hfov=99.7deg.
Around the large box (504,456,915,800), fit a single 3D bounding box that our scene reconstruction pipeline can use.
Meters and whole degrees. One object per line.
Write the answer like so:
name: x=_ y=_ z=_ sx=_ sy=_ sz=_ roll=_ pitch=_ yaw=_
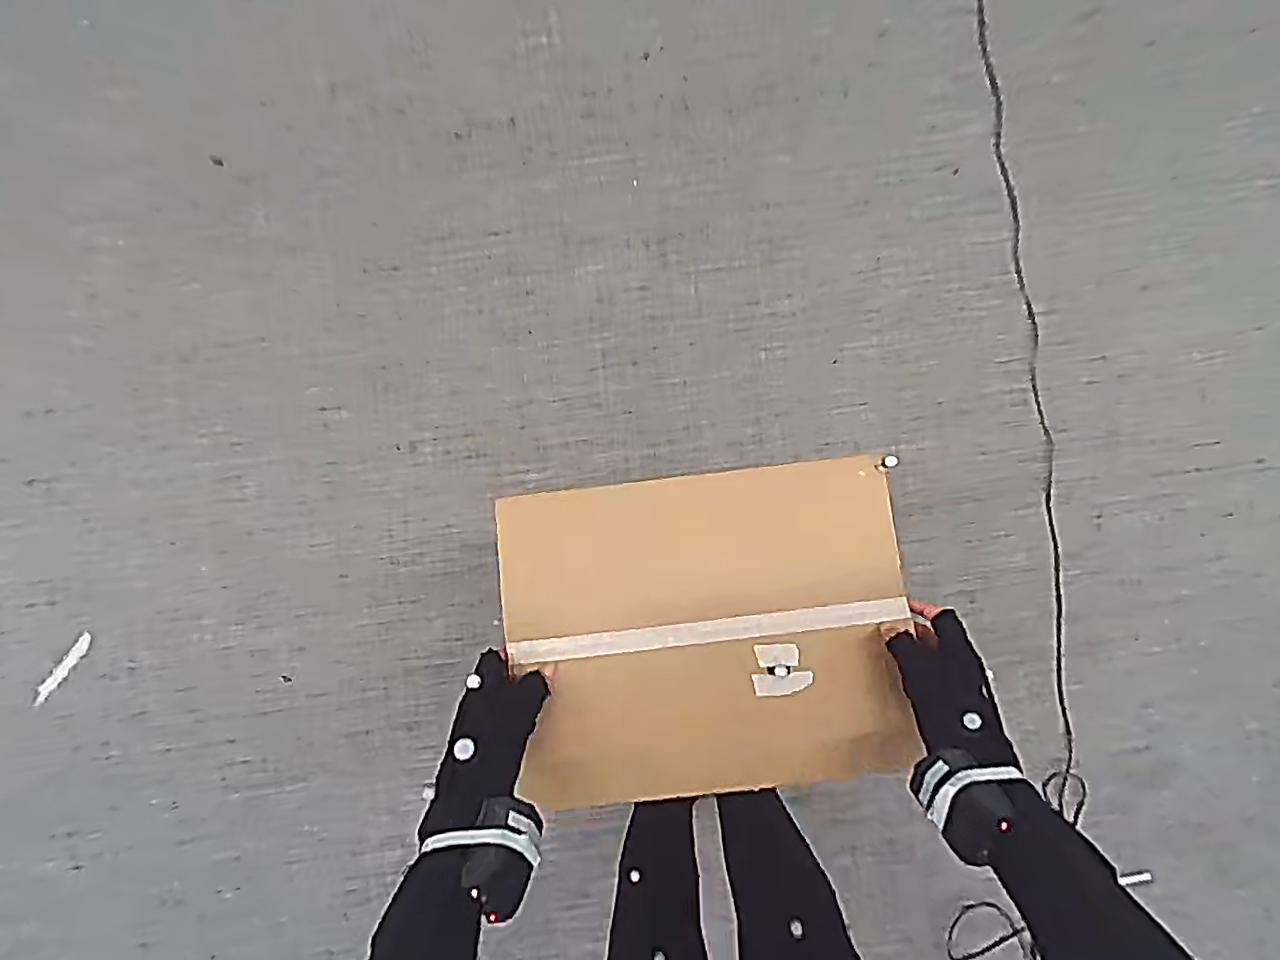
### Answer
large box: x=0.068 y=0.171 z=0.719 sx=0.408 sy=0.320 sz=0.320 roll=-8 pitch=84 yaw=0
